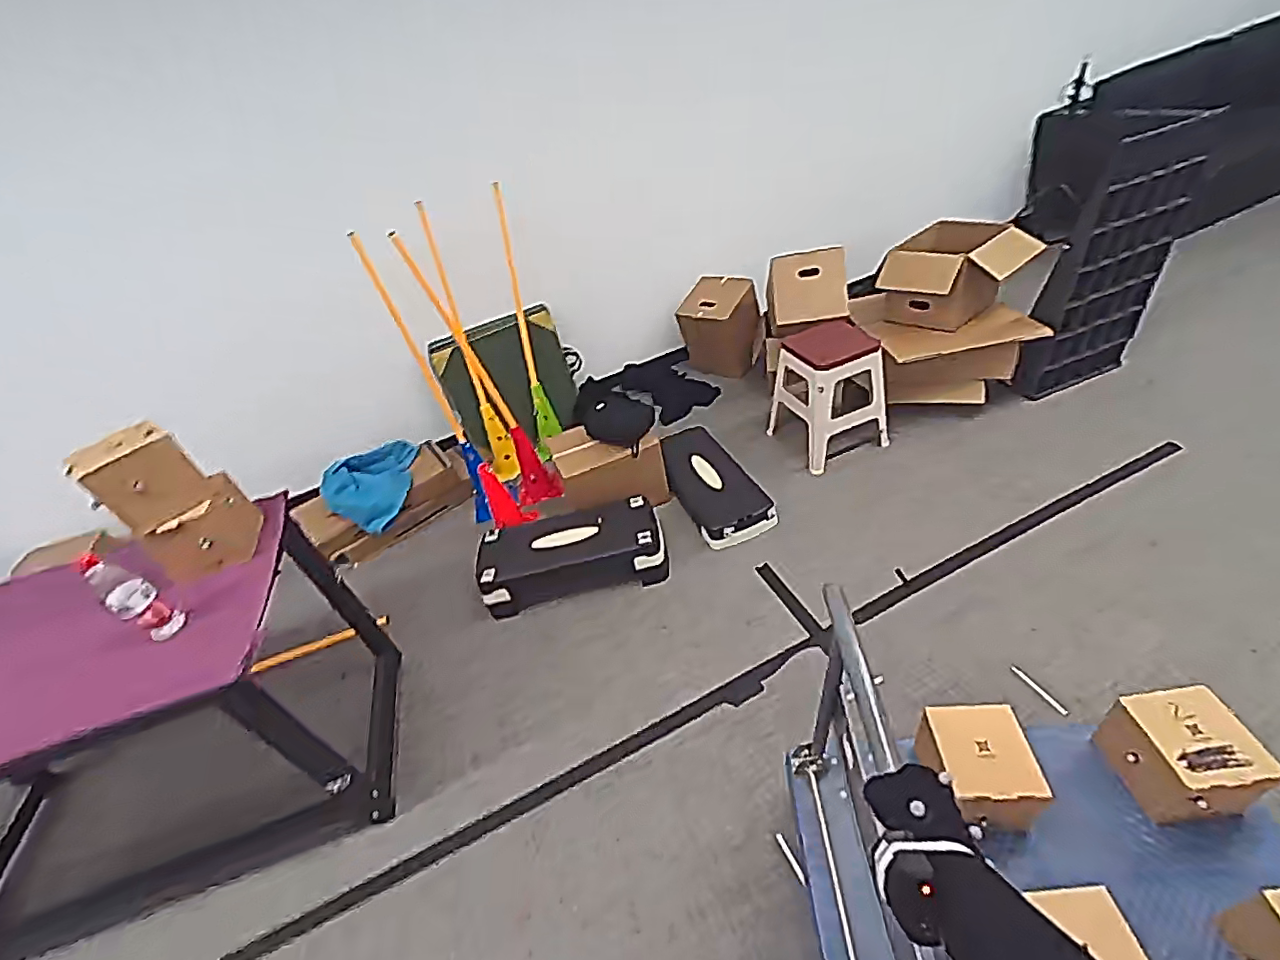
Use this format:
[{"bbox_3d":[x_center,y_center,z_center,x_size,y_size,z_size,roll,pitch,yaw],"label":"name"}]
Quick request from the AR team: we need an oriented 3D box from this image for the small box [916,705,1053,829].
[{"bbox_3d":[0.680,0.580,1.096,0.168,0.176,0.179,-6,41,9],"label":"small box"}]

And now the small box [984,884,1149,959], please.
[{"bbox_3d":[0.681,0.775,0.855,0.168,0.176,0.179,-9,38,5],"label":"small box"}]

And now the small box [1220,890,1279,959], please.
[{"bbox_3d":[1.050,0.730,0.803,0.179,0.176,0.168,-8,39,8],"label":"small box"}]
